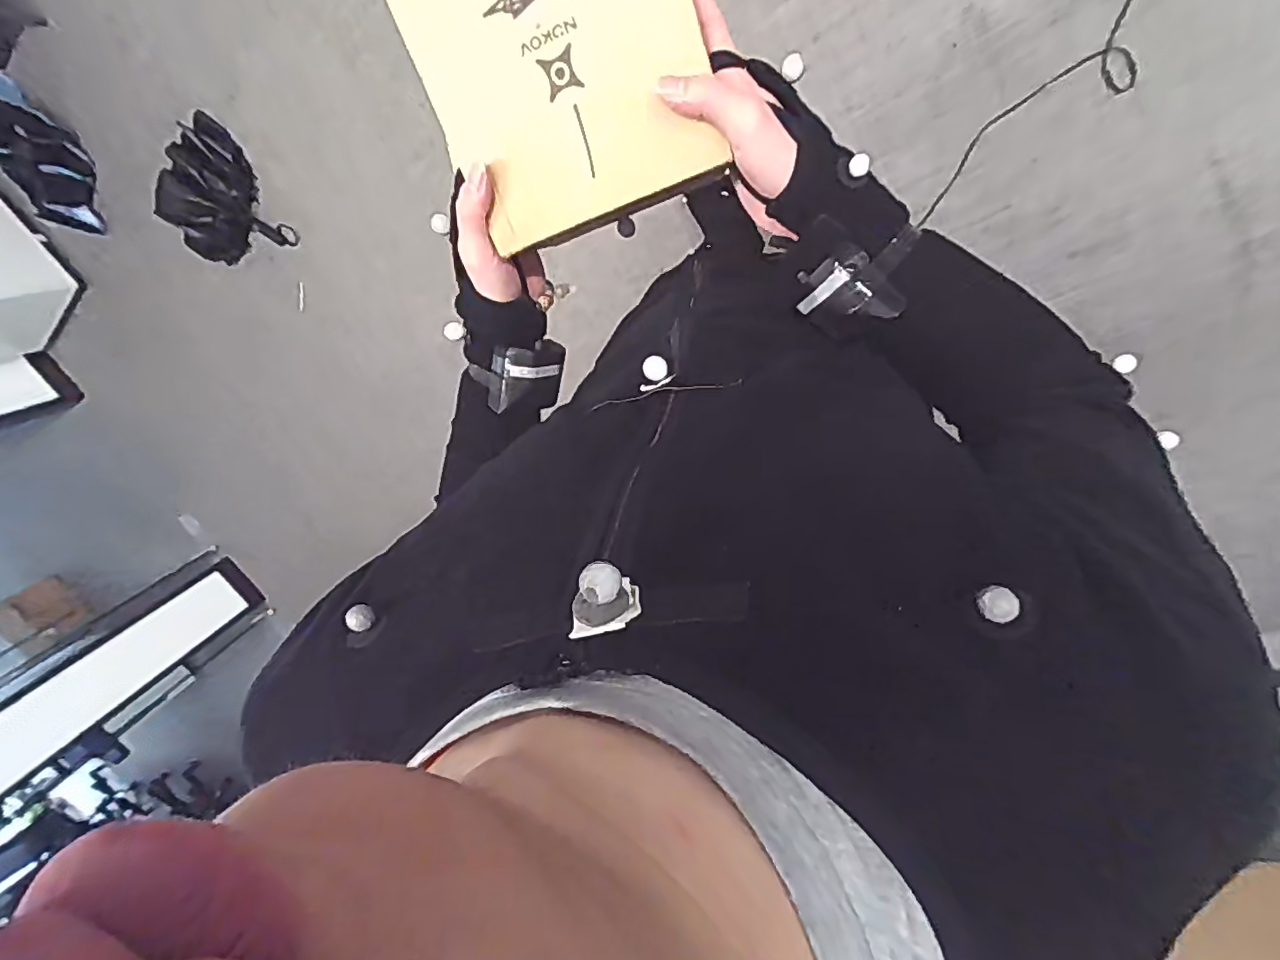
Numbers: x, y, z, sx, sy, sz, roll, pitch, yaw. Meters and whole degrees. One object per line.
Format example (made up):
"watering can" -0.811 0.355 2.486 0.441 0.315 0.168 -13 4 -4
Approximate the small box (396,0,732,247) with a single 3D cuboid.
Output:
"small box" -0.041 -0.285 0.389 0.168 0.176 0.179 -16 113 12
